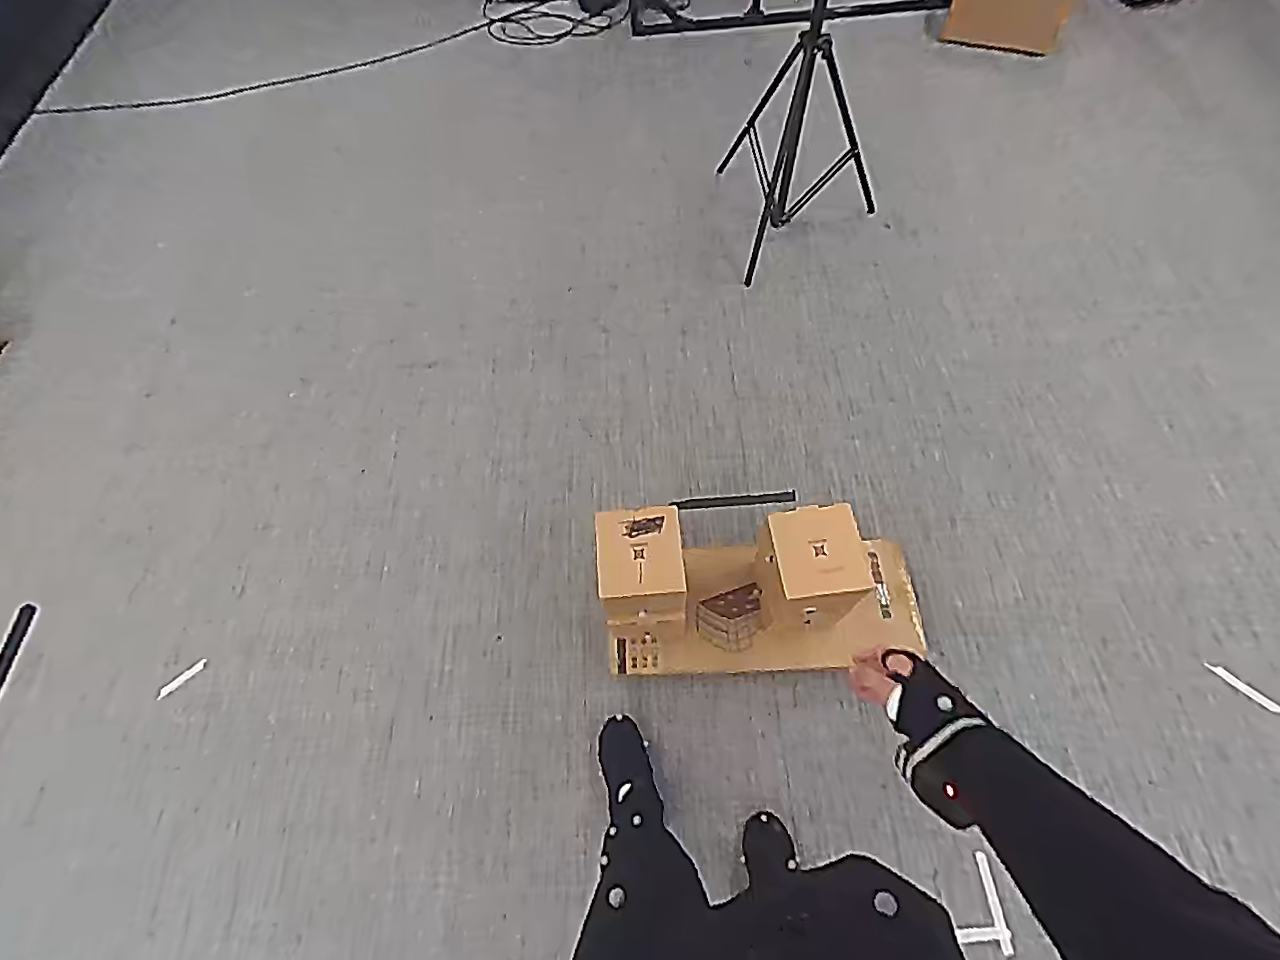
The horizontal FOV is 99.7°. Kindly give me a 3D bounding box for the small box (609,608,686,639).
[{"bbox_3d":[0.017,0.261,1.248,0.168,0.176,0.179,-3,64,2],"label":"small box"}]

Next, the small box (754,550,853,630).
[{"bbox_3d":[0.365,0.242,1.239,0.168,0.176,0.179,-6,64,0],"label":"small box"}]

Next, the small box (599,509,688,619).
[{"bbox_3d":[0.006,0.175,1.108,0.168,0.176,0.179,-5,64,1],"label":"small box"}]

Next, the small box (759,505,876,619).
[{"bbox_3d":[0.346,0.170,1.094,0.168,0.176,0.179,-8,64,1],"label":"small box"}]
